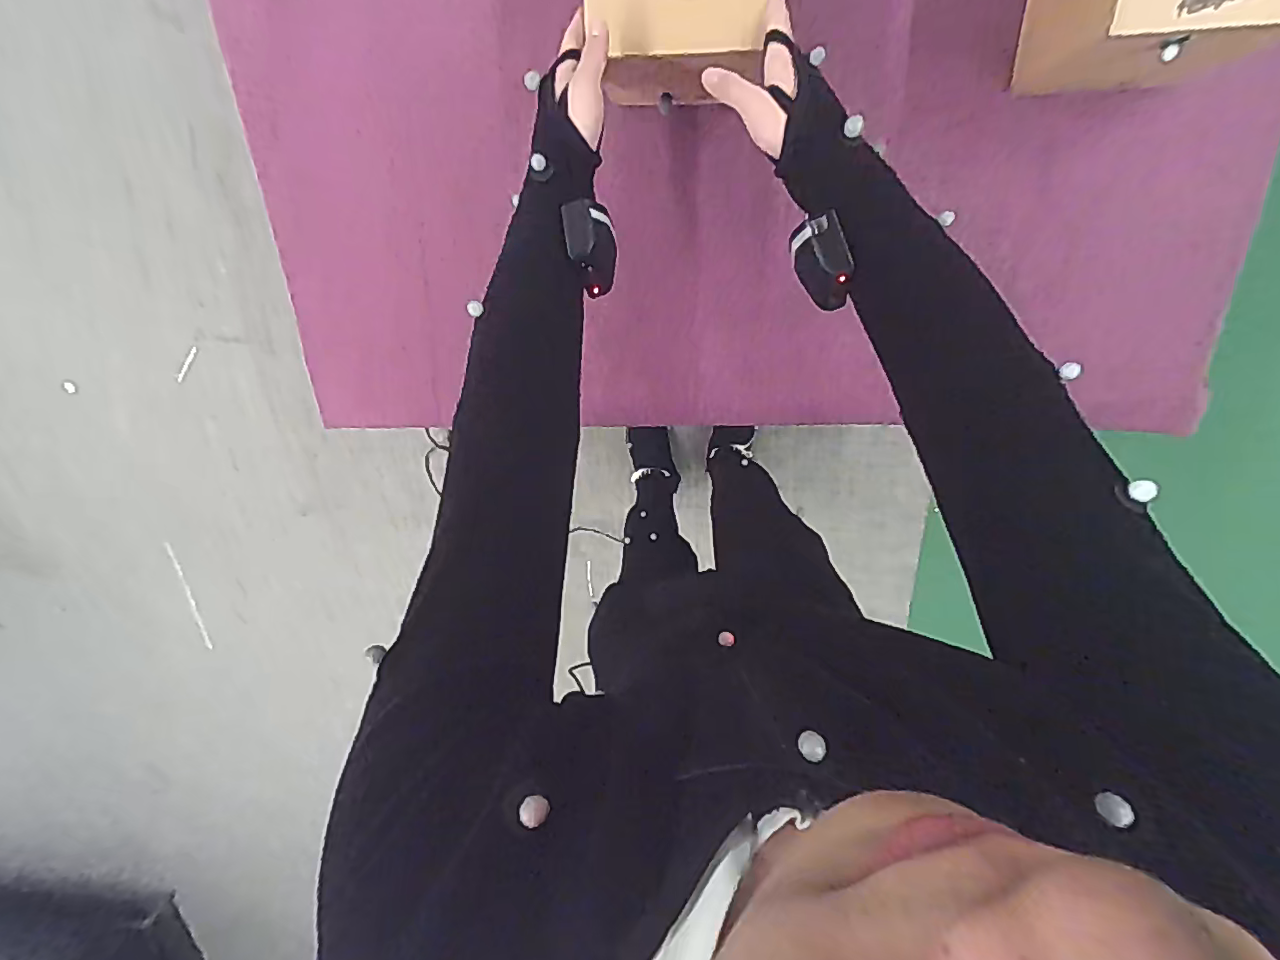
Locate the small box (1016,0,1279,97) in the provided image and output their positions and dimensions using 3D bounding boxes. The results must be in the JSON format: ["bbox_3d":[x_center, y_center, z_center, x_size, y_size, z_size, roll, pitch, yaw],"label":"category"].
[{"bbox_3d":[0.475,-0.472,0.480,0.168,0.176,0.179,2,111,8],"label":"small box"}]

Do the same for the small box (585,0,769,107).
[{"bbox_3d":[0.042,-0.495,0.533,0.168,0.176,0.179,4,112,7],"label":"small box"}]
